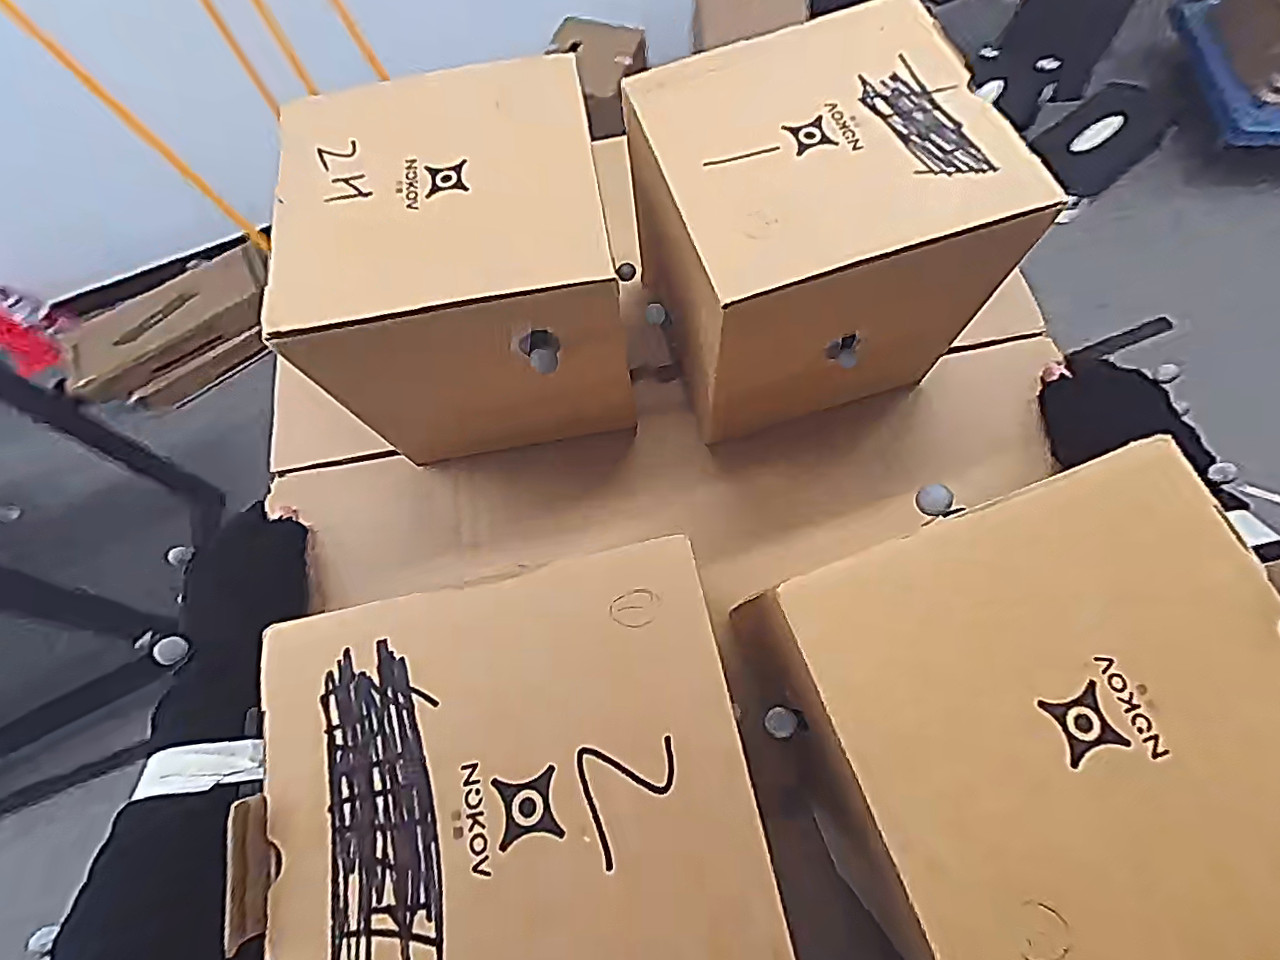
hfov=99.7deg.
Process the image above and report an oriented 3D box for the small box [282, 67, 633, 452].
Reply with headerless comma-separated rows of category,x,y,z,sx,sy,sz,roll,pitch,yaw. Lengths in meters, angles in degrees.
small box,-0.100,-0.133,0.373,0.179,0.176,0.168,-8,69,1
